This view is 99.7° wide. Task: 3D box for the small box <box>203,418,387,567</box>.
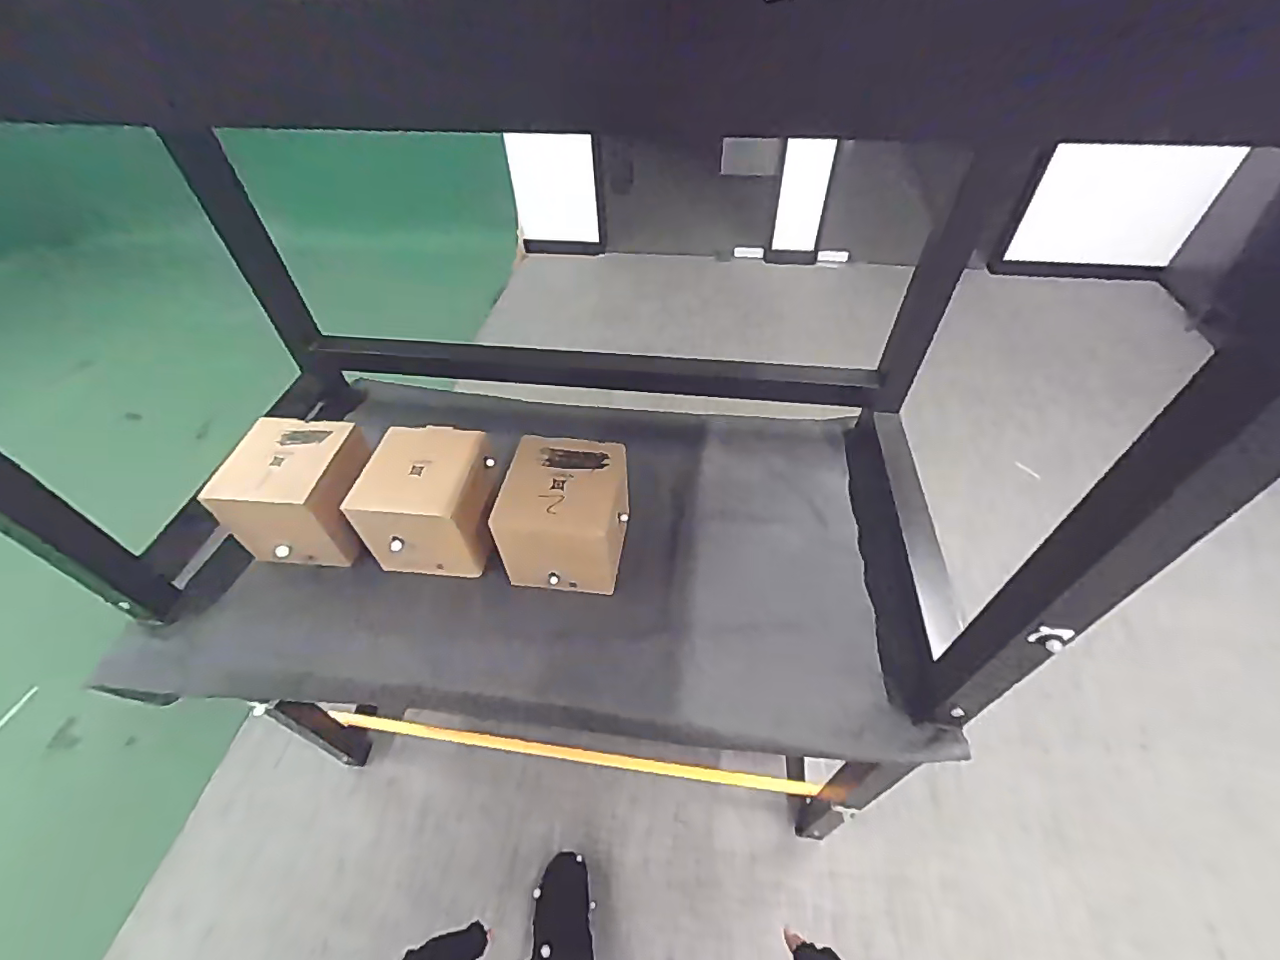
[{"bbox_3d":[-0.548,0.020,0.894,0.168,0.176,0.179,3,49,5],"label":"small box"}]
